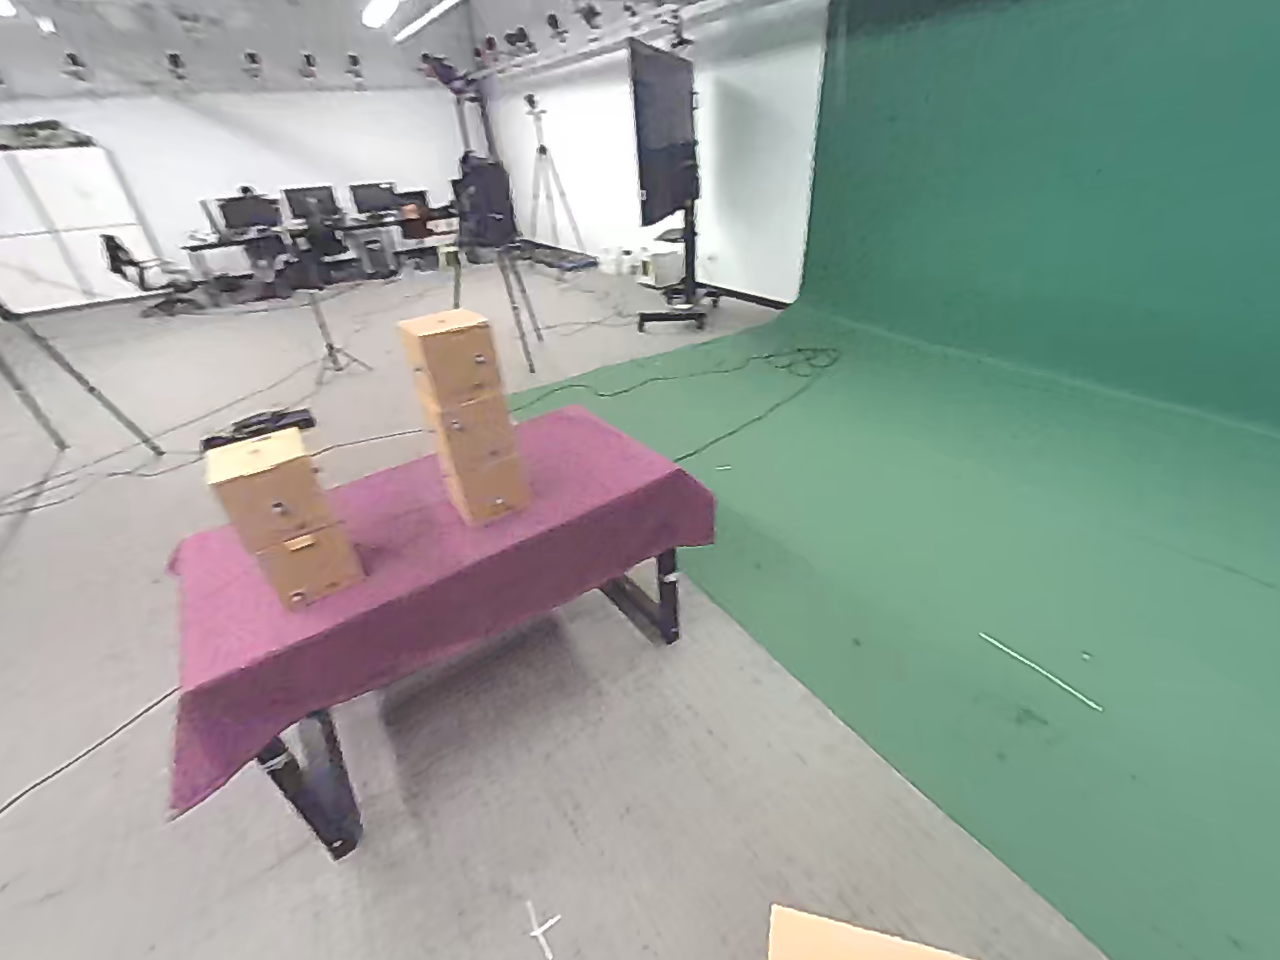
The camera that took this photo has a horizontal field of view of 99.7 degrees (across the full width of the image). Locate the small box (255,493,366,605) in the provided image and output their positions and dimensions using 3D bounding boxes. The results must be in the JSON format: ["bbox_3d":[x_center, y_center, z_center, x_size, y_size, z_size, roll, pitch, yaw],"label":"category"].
[{"bbox_3d":[-0.746,0.158,1.222,0.168,0.176,0.179,-25,36,-29],"label":"small box"}]

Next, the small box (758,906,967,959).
[{"bbox_3d":[0.169,0.486,0.418,0.168,0.176,0.179,3,32,15],"label":"small box"}]

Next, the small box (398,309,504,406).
[{"bbox_3d":[-0.437,-0.286,1.264,0.168,0.176,0.179,-24,36,-29],"label":"small box"}]

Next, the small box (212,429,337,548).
[{"bbox_3d":[-0.761,0.020,1.133,0.168,0.176,0.179,-23,37,-27],"label":"small box"}]

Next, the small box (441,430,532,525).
[{"bbox_3d":[-0.406,-0.007,1.434,0.168,0.176,0.179,-23,37,-26],"label":"small box"}]
